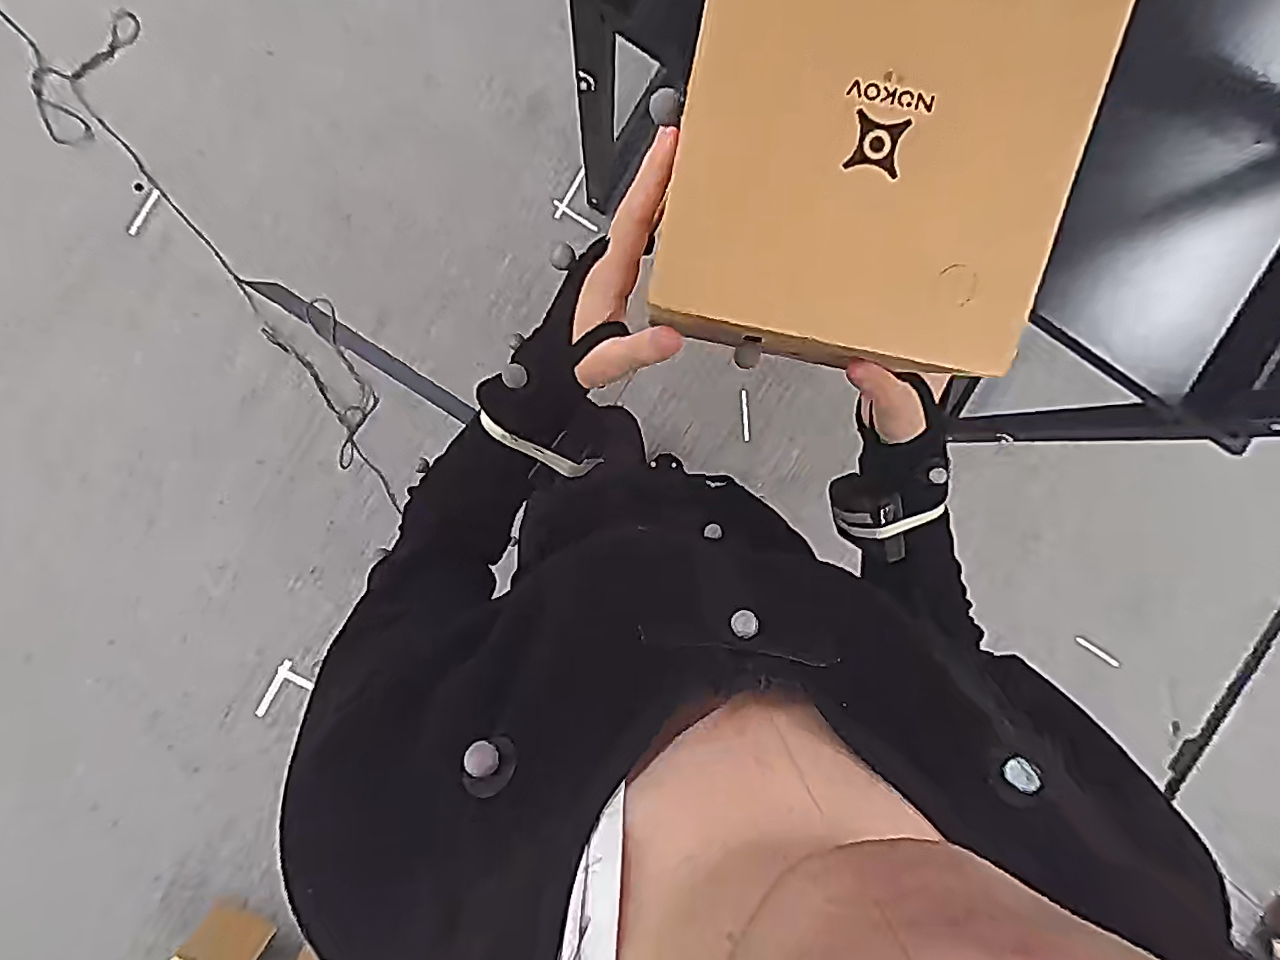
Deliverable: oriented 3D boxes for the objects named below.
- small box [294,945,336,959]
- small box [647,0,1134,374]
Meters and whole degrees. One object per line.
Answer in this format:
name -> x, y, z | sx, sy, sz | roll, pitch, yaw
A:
small box -> -0.916, 1.423, 1.448 | 0.168, 0.176, 0.179 | 35, 91, -6
small box -> 0.102, -0.160, 0.300 | 0.168, 0.176, 0.179 | 11, 101, -1
